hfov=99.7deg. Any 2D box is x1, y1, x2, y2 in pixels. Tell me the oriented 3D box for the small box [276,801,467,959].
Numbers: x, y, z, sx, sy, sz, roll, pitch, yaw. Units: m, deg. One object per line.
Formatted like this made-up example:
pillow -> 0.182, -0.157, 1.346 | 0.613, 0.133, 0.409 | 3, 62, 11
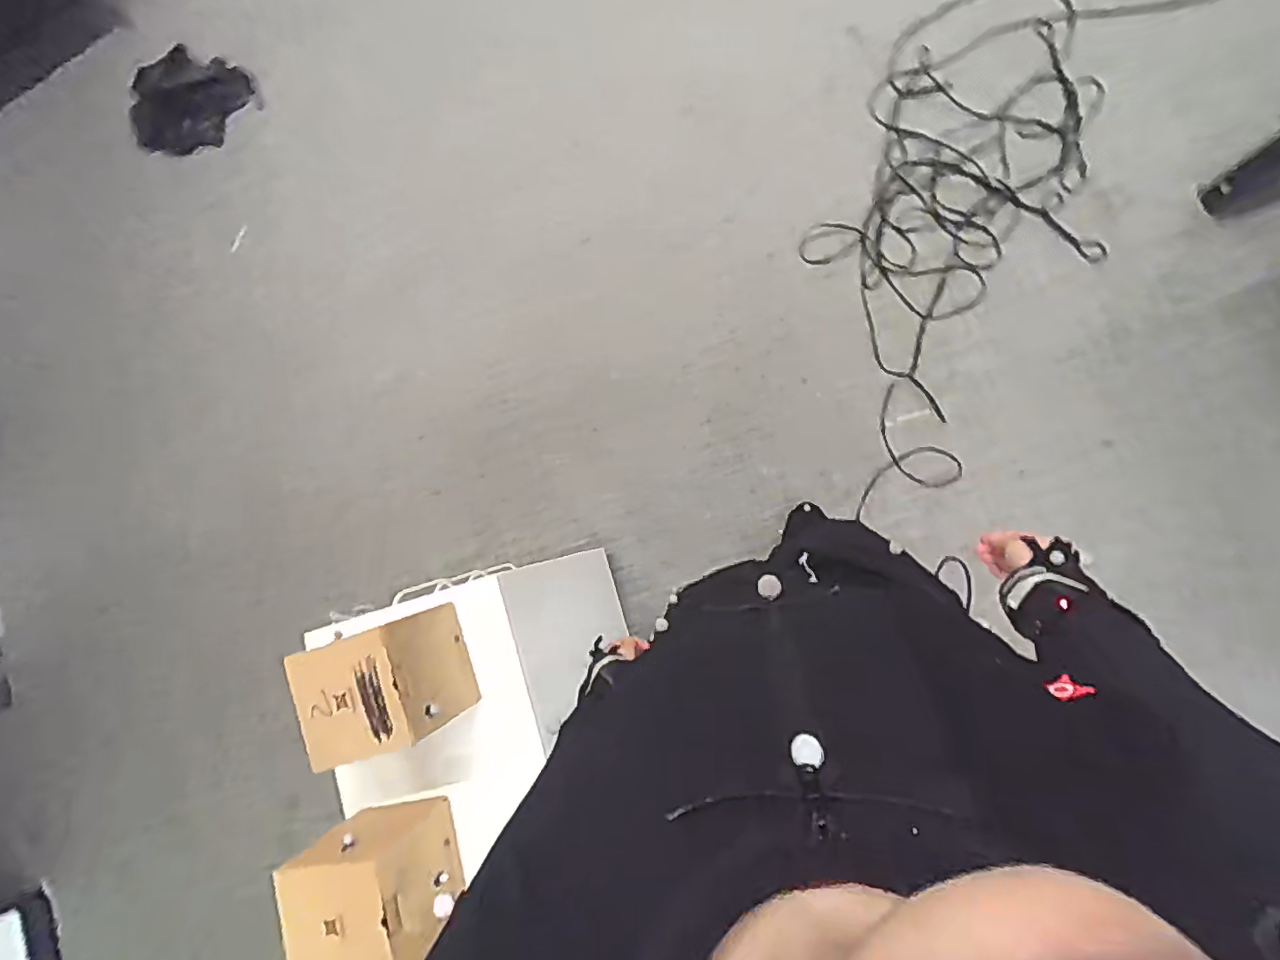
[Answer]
small box -> -0.388, 0.608, 0.800 | 0.179, 0.176, 0.168 | -16, 83, 12
